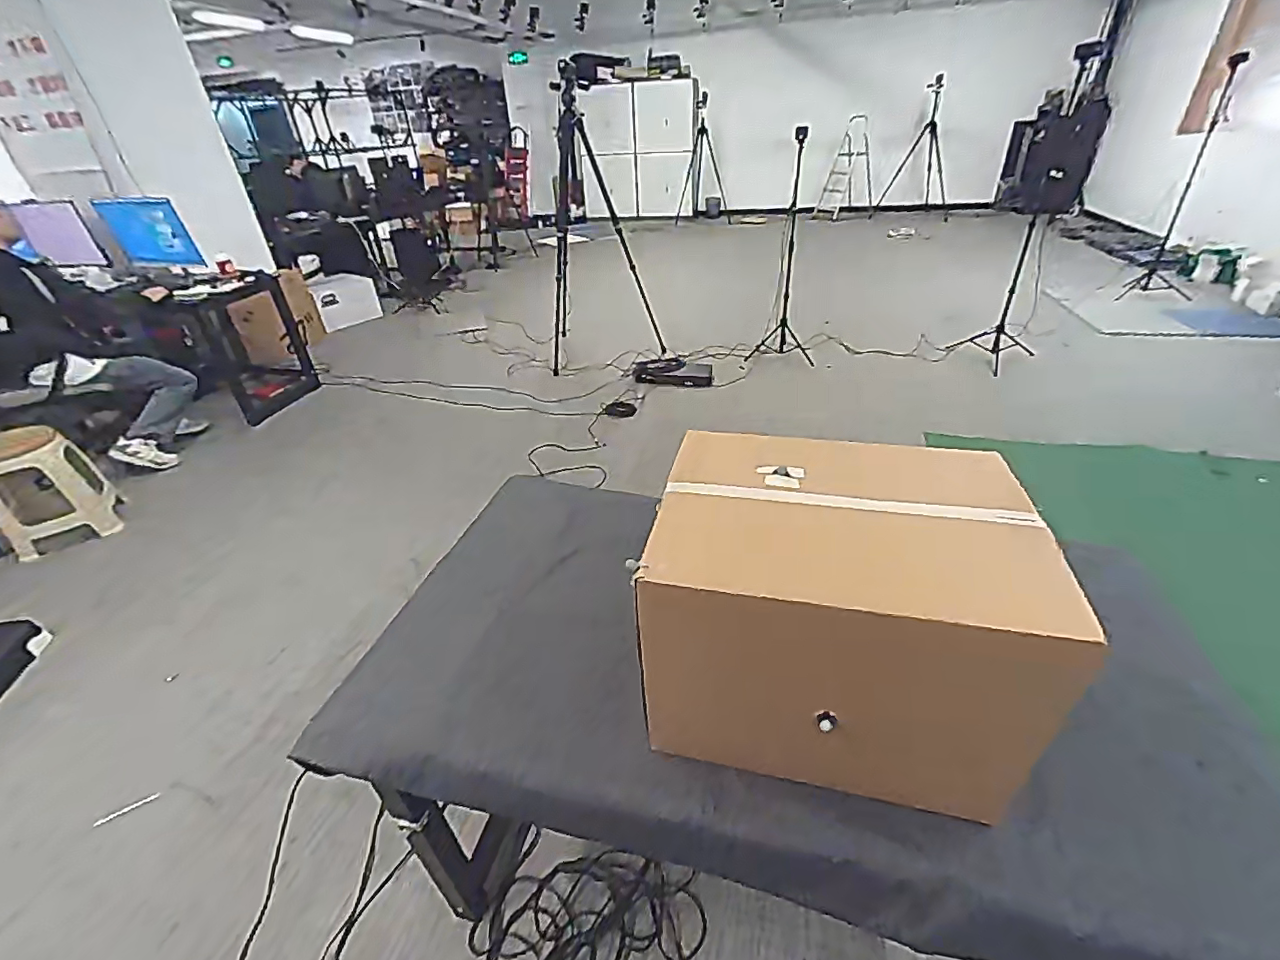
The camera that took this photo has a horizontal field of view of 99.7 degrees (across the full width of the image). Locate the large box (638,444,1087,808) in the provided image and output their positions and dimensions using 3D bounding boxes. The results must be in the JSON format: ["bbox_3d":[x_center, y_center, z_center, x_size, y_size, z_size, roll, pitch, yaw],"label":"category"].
[{"bbox_3d":[0.237,0.166,0.704,0.408,0.320,0.320,4,34,14],"label":"large box"}]
